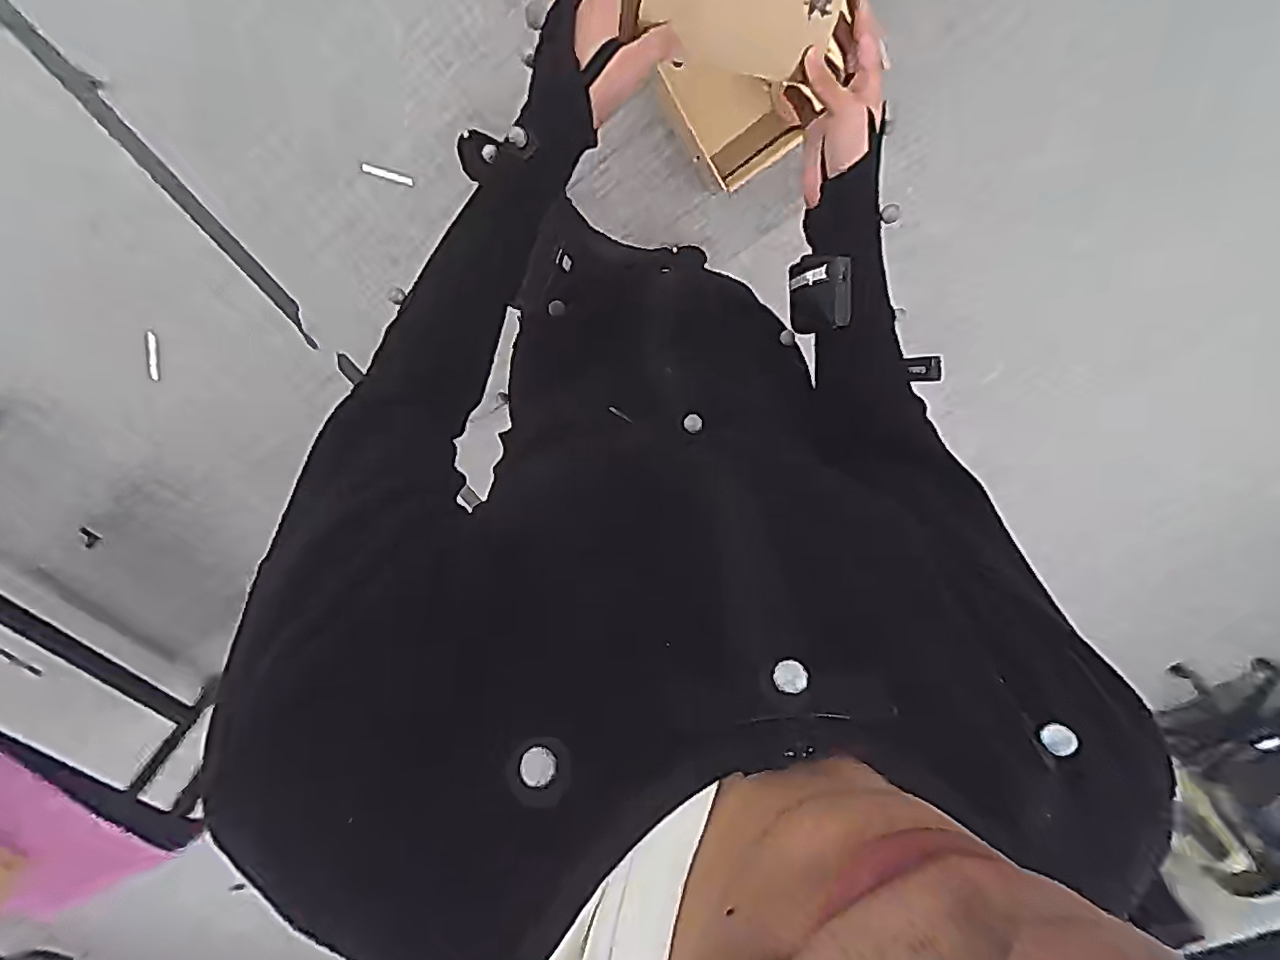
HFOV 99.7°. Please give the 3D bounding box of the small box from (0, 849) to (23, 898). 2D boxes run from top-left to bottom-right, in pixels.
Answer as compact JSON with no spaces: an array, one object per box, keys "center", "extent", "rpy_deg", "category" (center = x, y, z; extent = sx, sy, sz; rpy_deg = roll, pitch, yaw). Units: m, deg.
[{"center":[-1.676,0.998,1.302],"extent":[0.179,0.176,0.168],"rpy_deg":[-25,117,11],"category":"small box"}]
